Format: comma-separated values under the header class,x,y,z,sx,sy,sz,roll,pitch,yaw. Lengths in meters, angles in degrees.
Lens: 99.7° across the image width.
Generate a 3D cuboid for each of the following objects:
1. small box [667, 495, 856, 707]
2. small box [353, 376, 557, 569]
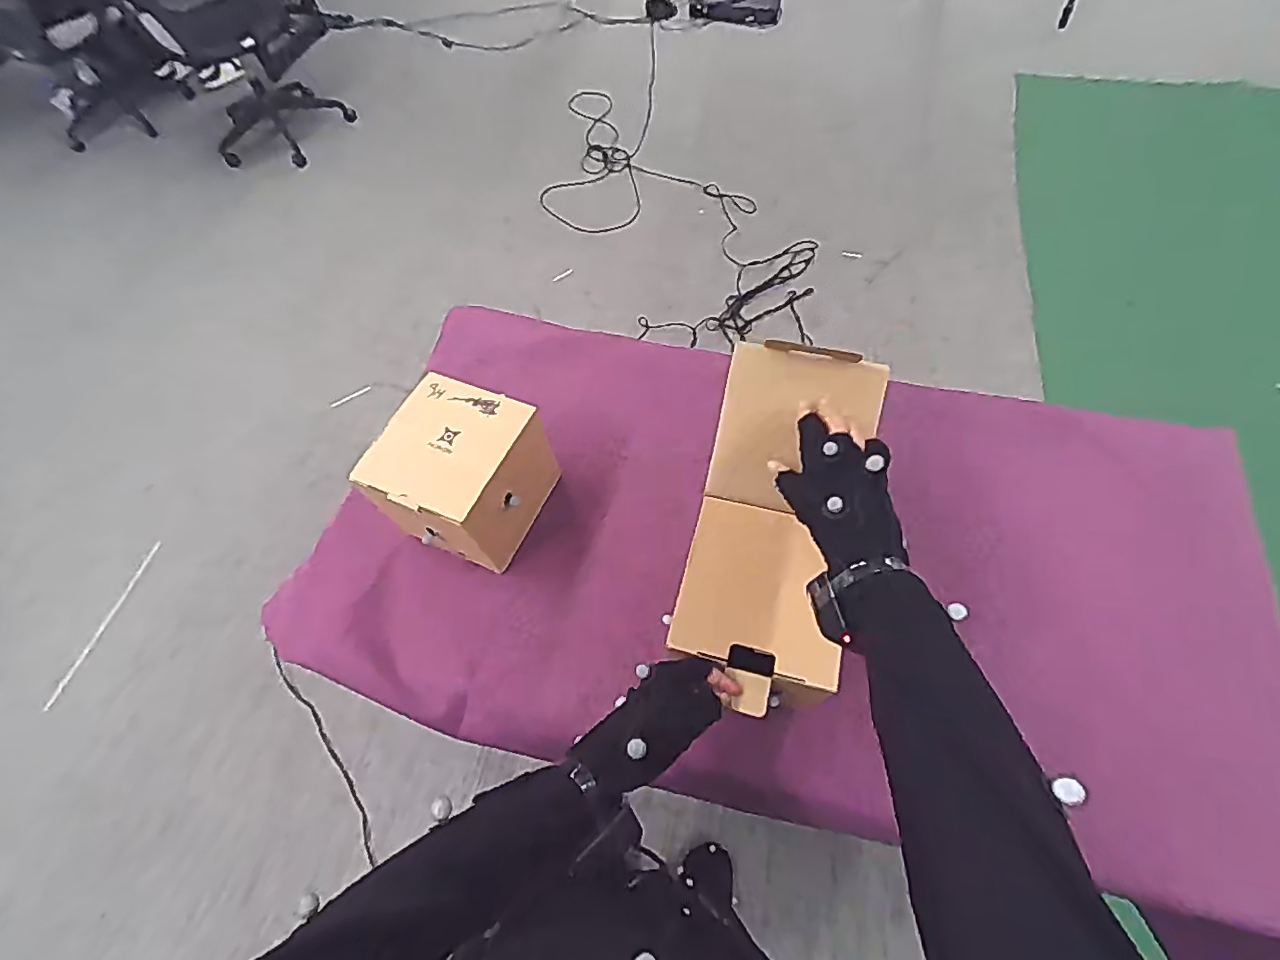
class,x,y,z,sx,sy,sz,roll,pitch,yaw
small box,0.133,0.145,0.617,0.168,0.176,0.179,12,62,10
small box,-0.228,-0.003,0.725,0.168,0.176,0.179,20,65,14
